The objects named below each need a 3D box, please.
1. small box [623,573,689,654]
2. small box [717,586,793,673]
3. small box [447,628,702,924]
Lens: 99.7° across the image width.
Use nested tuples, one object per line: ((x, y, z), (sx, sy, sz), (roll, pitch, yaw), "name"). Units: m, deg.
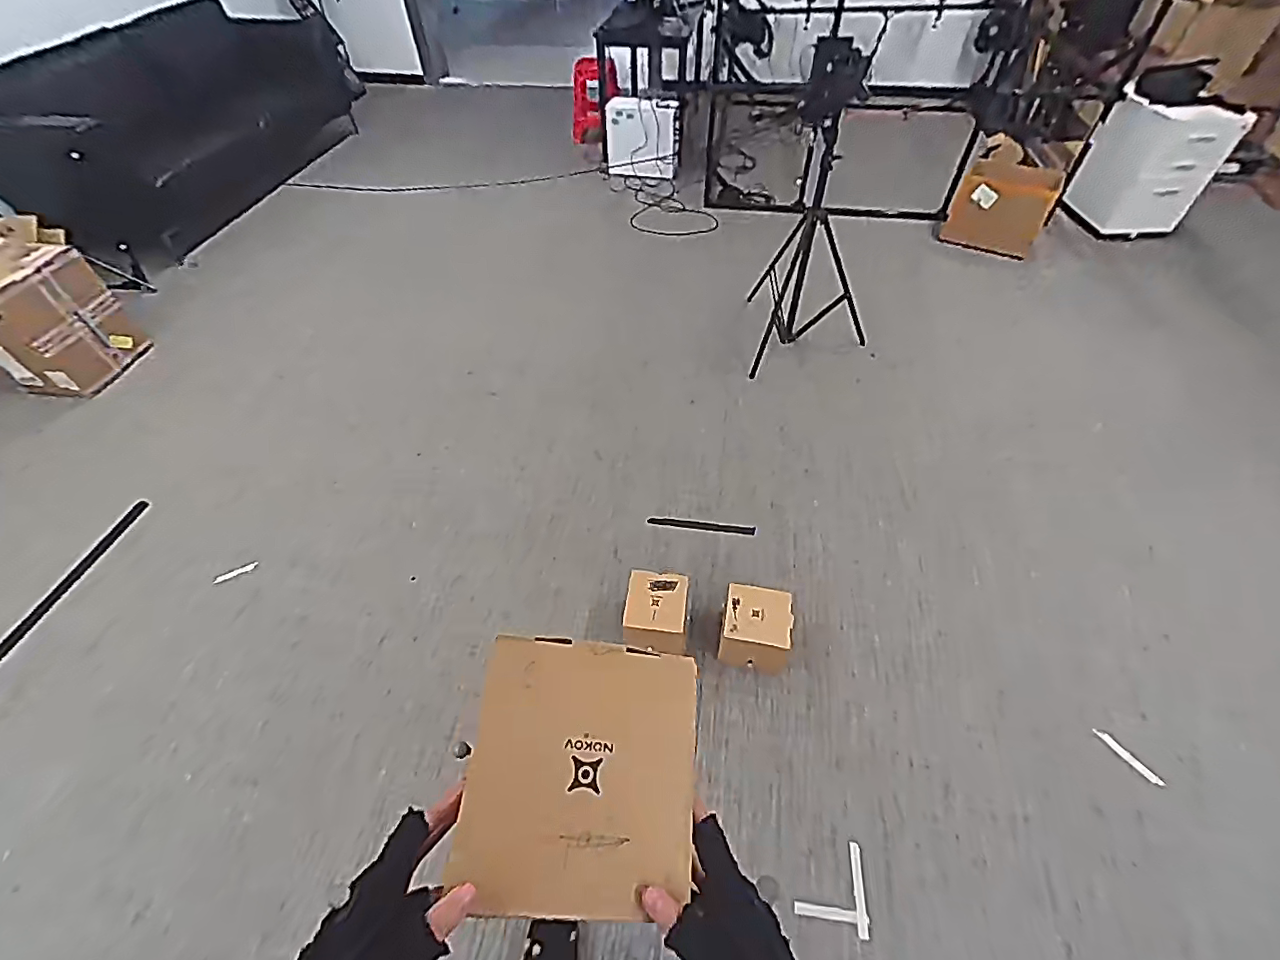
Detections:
((0.047, 0.391, 1.544), (0.168, 0.176, 0.179), (5, 51, 7), "small box")
((0.320, 0.422, 1.511), (0.179, 0.176, 0.168), (9, 51, 8), "small box")
((-0.055, 0.241, 0.456), (0.168, 0.176, 0.179), (11, 61, -10), "small box")
